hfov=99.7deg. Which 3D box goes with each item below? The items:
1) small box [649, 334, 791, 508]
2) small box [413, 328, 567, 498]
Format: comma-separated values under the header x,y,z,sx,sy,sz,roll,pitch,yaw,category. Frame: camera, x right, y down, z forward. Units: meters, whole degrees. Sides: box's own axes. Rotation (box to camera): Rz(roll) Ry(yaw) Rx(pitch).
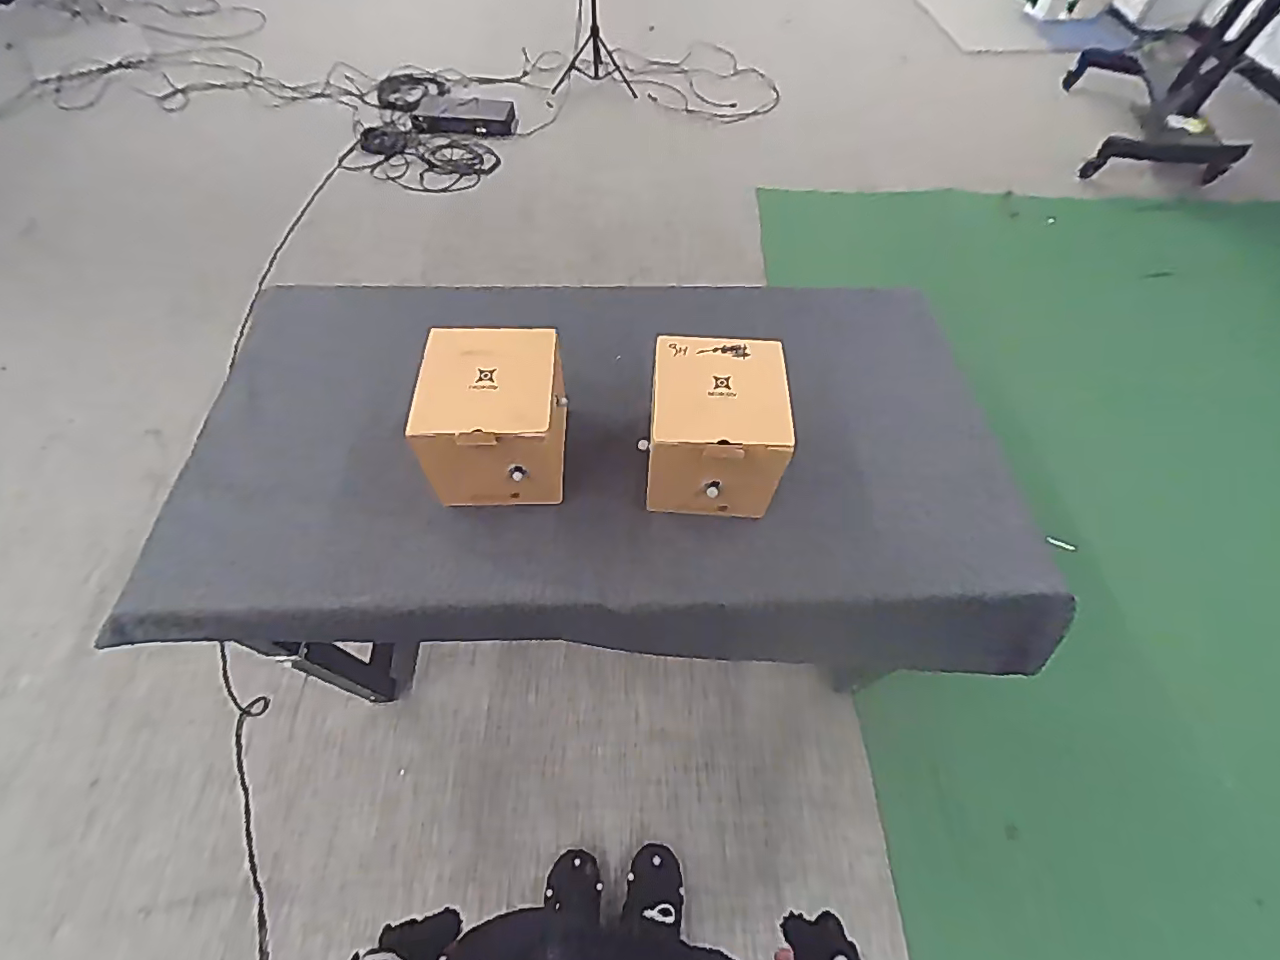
x,y,z,sx,sy,sz,roll,pitch,yaw,category
0.099,-0.074,0.740,0.168,0.176,0.179,3,59,0,small box
-0.189,-0.085,0.741,0.168,0.176,0.179,-1,57,-4,small box
